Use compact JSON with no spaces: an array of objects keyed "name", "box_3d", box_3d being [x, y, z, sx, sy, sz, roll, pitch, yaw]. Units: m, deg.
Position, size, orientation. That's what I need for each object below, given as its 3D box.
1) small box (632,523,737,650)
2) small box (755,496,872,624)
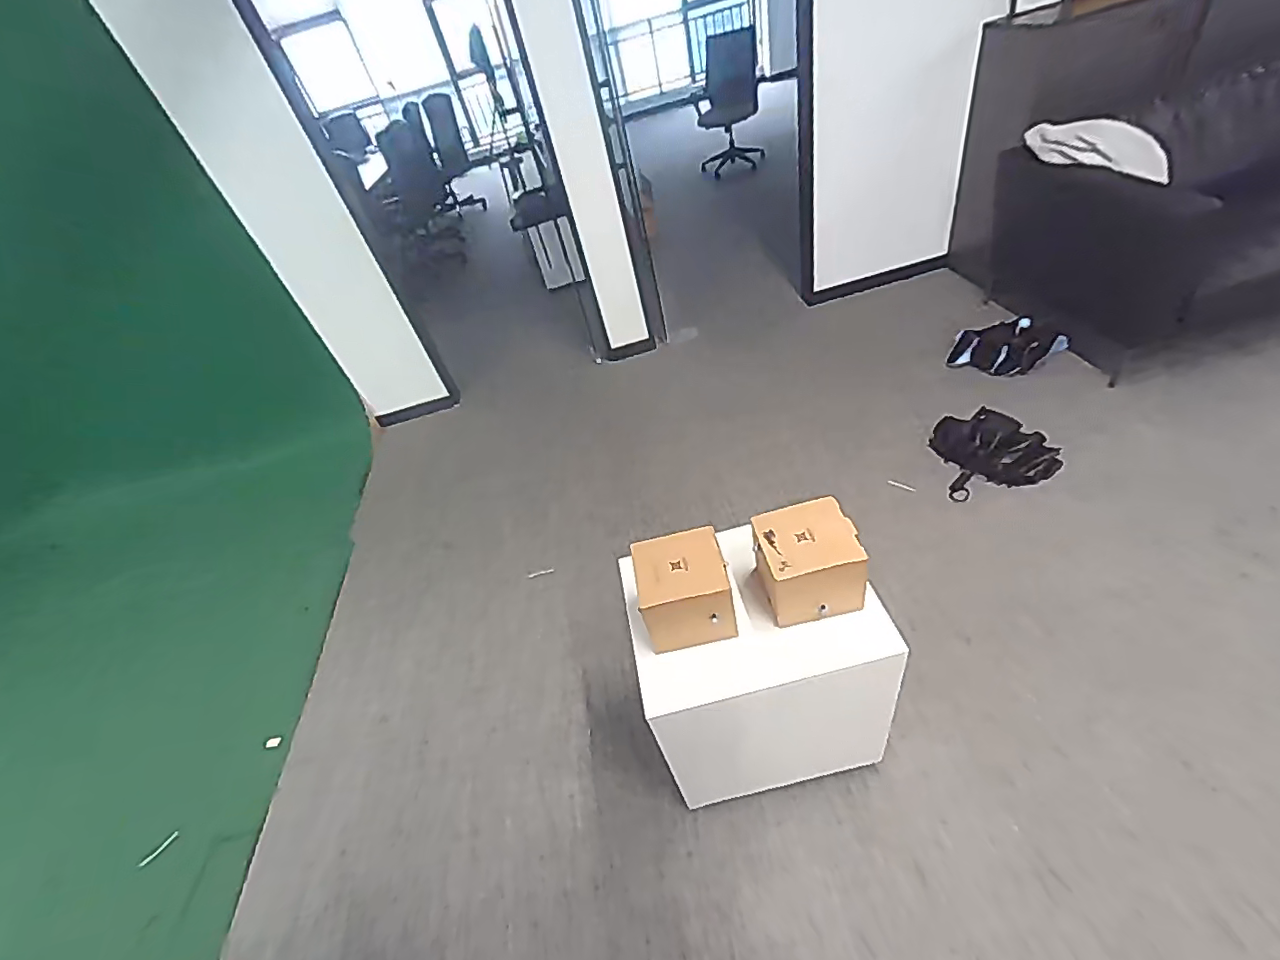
[{"name":"small box","box_3d":[0.093,0.217,1.092,0.179,0.176,0.168,-14,41,2]},{"name":"small box","box_3d":[0.336,0.162,1.078,0.179,0.176,0.168,-13,42,2]}]
